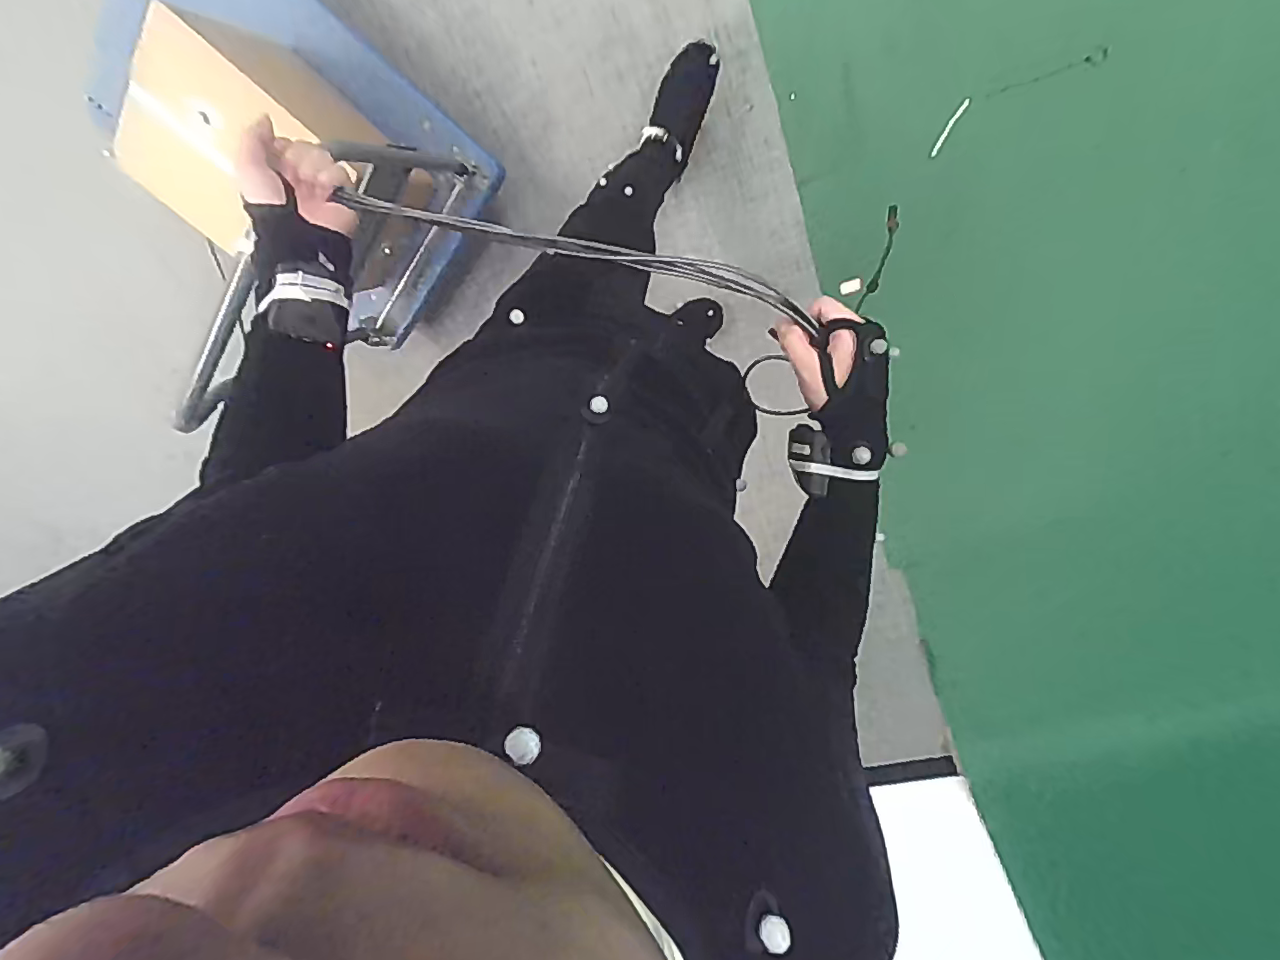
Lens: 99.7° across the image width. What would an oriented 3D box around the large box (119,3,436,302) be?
[{"bbox_3d":[-0.724,-0.643,1.132,0.408,0.320,0.320,41,115,-10],"label":"large box"}]
